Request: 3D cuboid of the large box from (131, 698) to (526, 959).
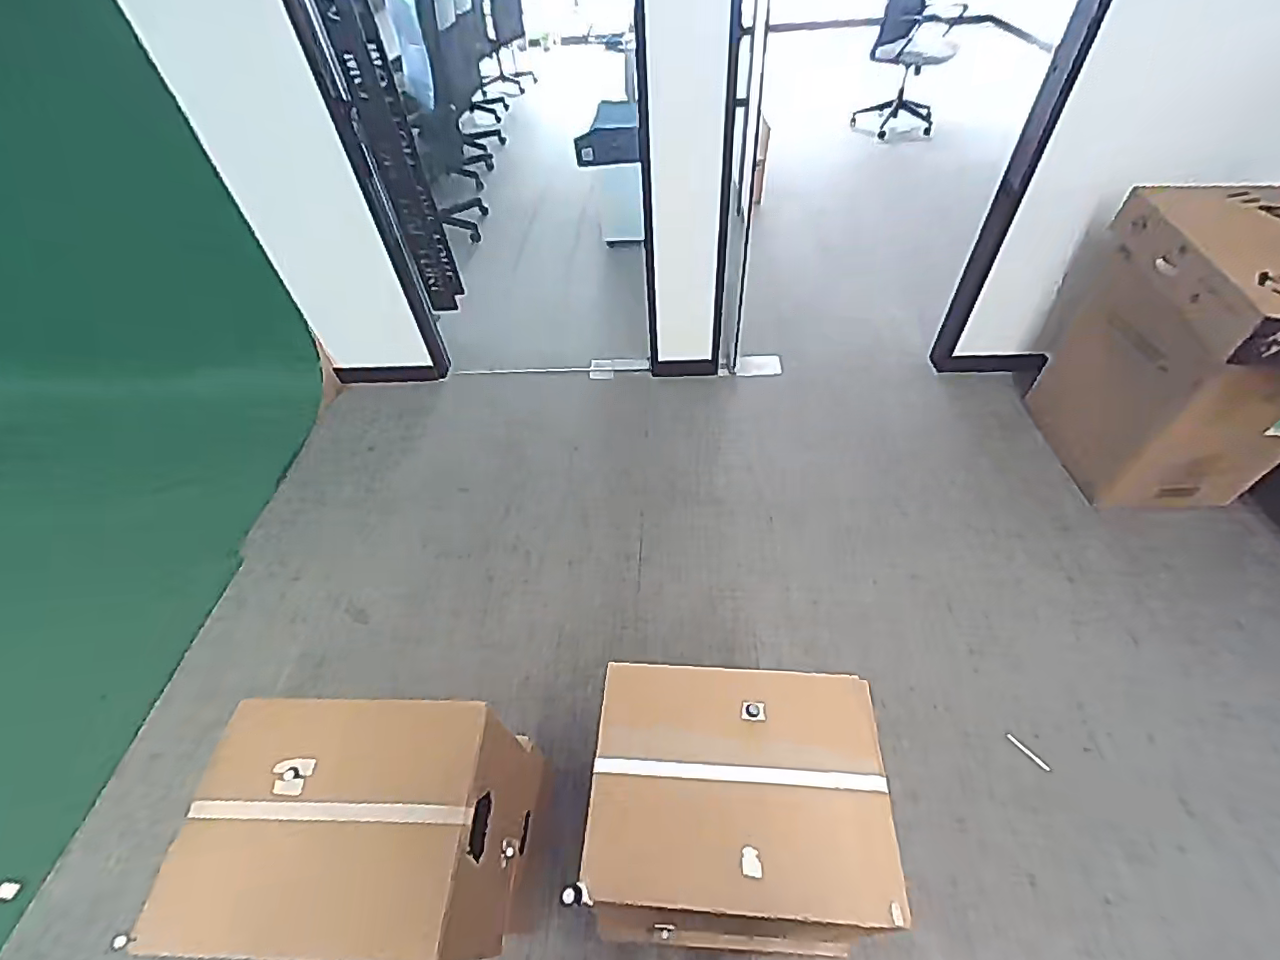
[{"bbox_3d":[-0.432,0.557,0.876,0.408,0.320,0.320,-1,51,4],"label":"large box"}]
